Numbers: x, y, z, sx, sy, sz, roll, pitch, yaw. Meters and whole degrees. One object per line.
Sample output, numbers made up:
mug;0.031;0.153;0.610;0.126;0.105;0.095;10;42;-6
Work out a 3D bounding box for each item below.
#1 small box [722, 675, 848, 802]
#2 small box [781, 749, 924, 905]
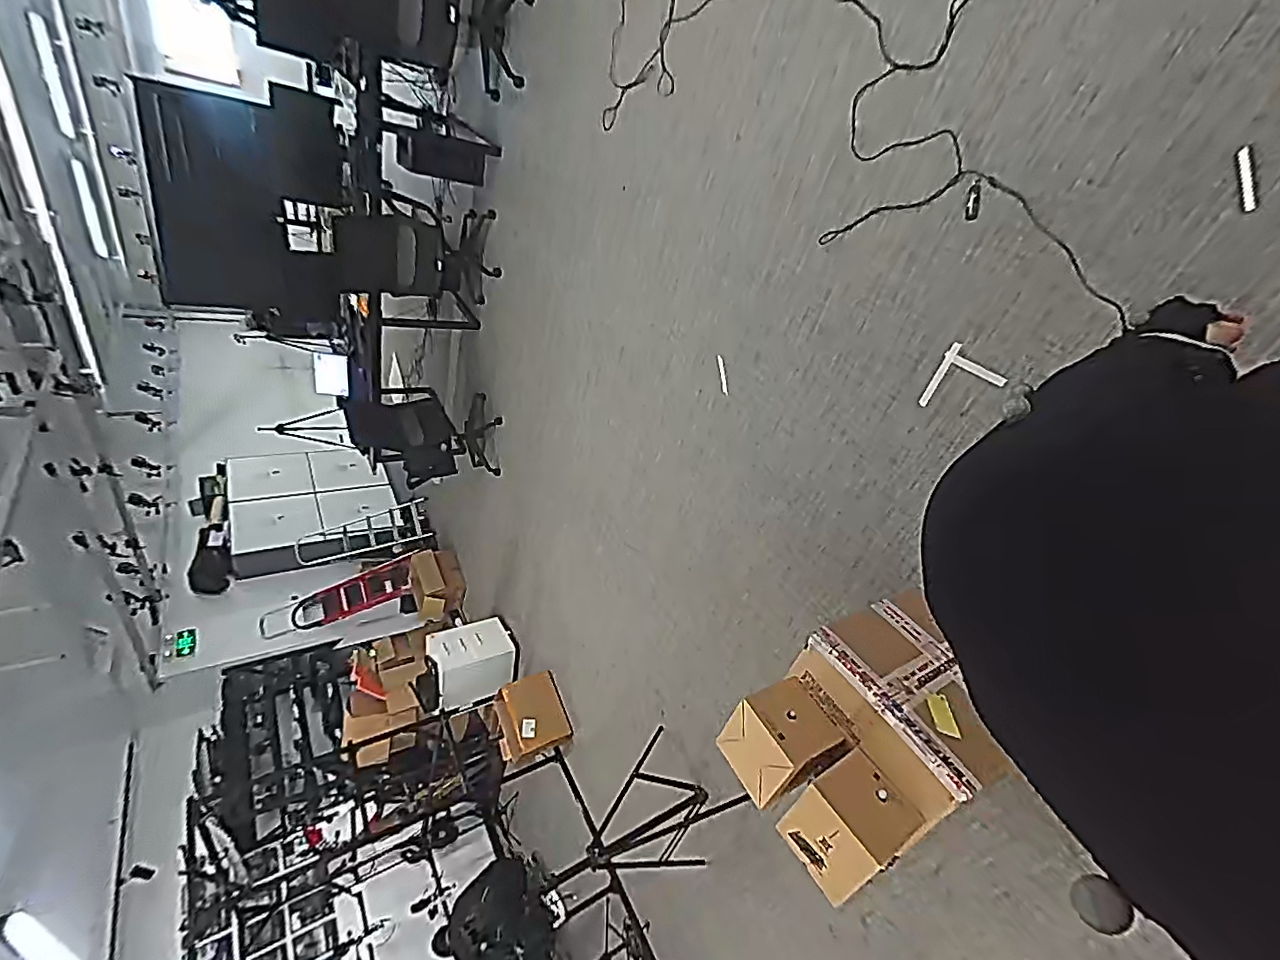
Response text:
small box;0.312;0.570;1.193;0.168;0.176;0.179;51;134;41
small box;0.418;0.674;1.065;0.168;0.176;0.179;46;131;37
